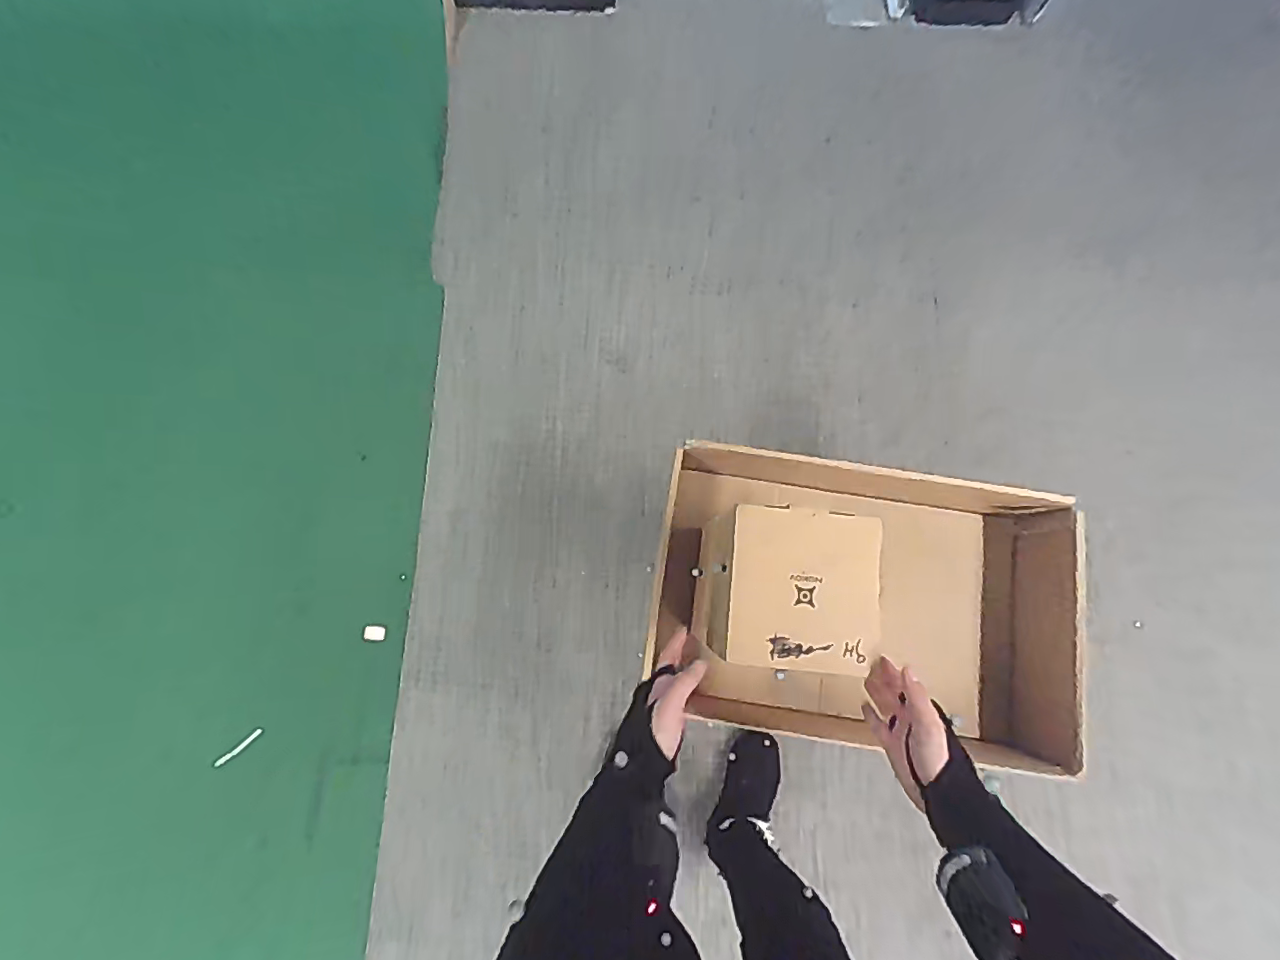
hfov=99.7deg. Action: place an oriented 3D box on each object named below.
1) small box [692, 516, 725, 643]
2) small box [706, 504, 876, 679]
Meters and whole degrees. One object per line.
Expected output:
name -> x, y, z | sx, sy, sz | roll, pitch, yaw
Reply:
small box -> 0.173, 0.161, 0.832 | 0.168, 0.176, 0.179 | 7, 79, 2
small box -> 0.175, 0.135, 0.670 | 0.168, 0.176, 0.179 | 5, 79, 2
